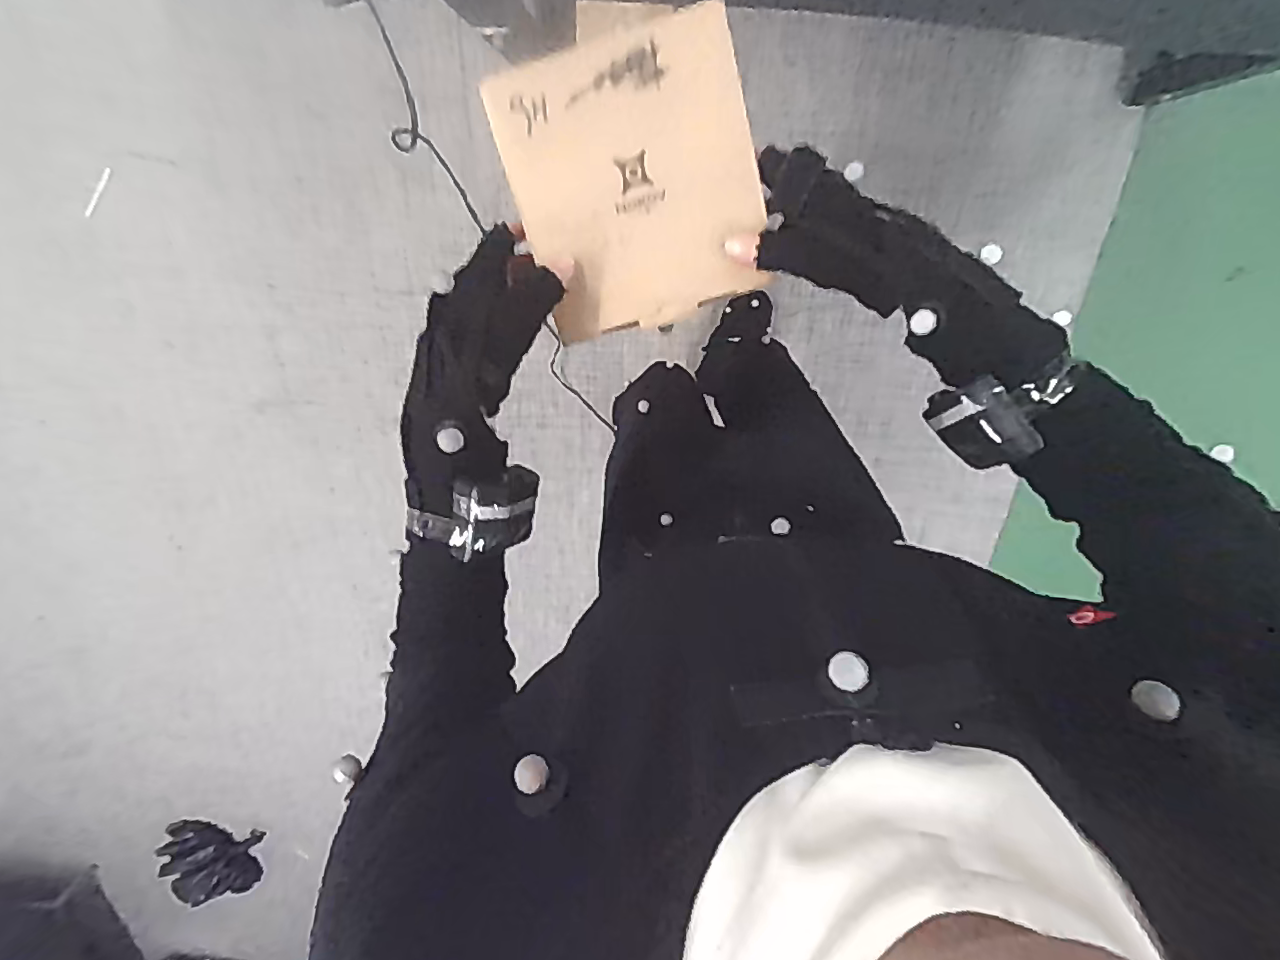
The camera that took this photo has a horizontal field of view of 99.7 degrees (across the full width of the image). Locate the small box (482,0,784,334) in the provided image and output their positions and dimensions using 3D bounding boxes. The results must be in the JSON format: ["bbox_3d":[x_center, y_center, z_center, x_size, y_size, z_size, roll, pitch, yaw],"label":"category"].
[{"bbox_3d":[0.000,-0.230,0.431,0.168,0.176,0.179,-16,108,4],"label":"small box"}]
